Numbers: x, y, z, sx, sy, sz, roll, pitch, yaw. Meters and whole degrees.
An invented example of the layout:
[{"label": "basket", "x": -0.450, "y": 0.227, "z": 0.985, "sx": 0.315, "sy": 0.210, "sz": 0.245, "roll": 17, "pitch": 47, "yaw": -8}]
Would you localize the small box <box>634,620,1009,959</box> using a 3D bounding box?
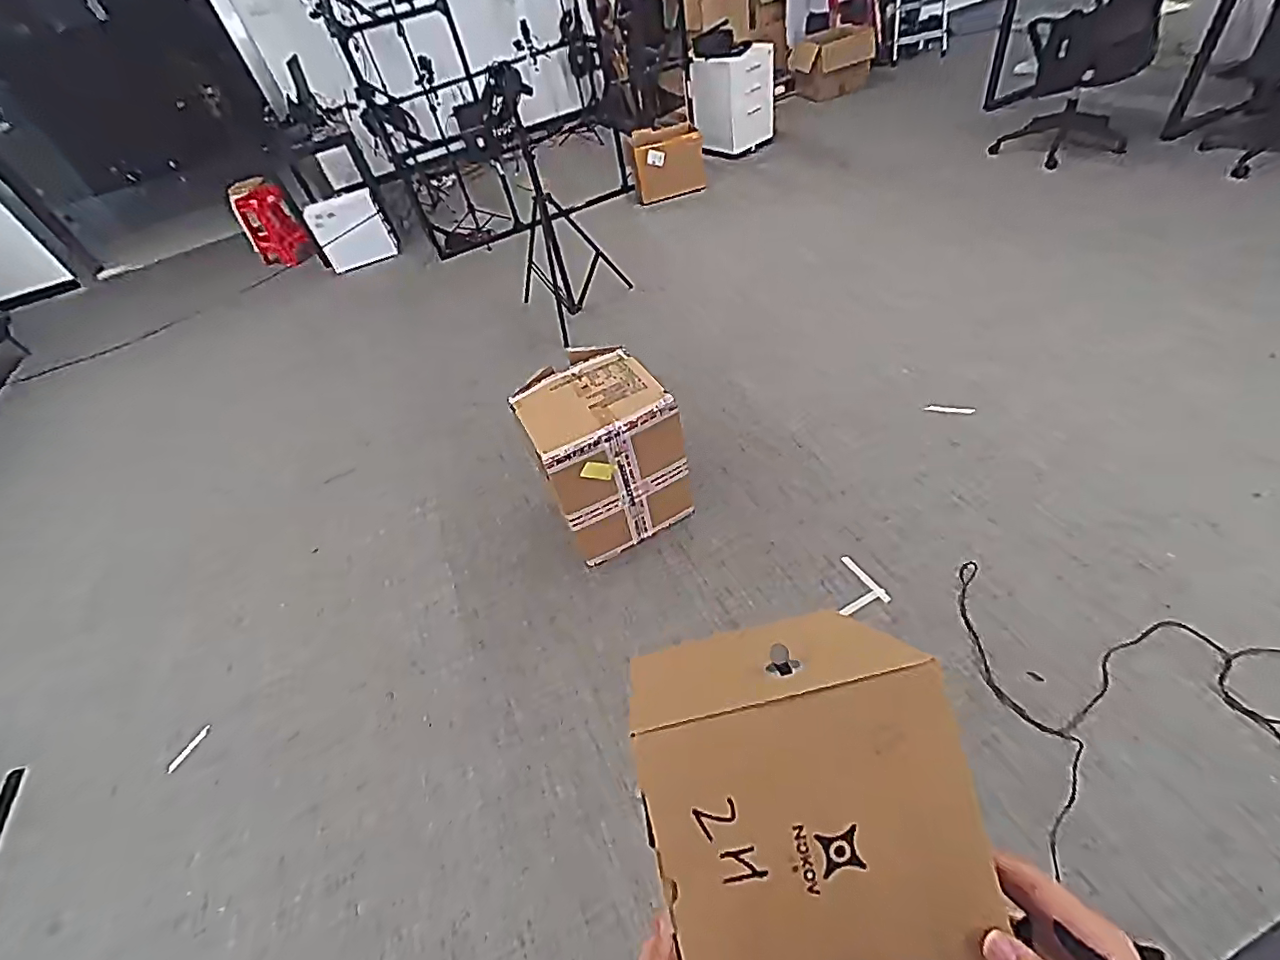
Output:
[{"label": "small box", "x": 0.096, "y": 0.205, "z": 0.371, "sx": 0.179, "sy": 0.176, "sz": 0.168, "roll": -13, "pitch": 85, "yaw": -1}]
